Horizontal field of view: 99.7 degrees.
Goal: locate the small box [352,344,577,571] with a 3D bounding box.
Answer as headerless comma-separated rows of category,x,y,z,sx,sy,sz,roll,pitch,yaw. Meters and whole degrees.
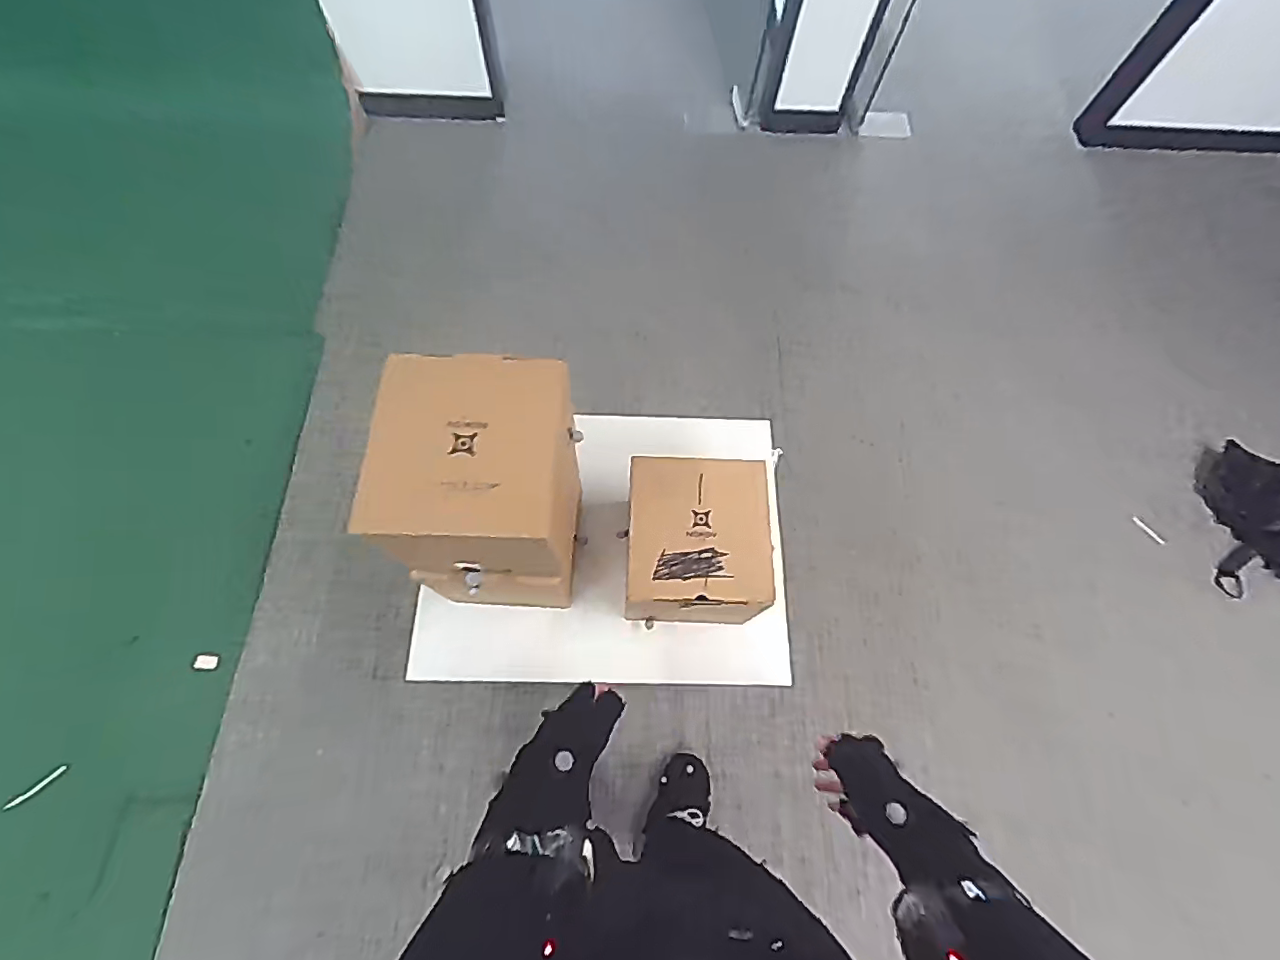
small box,-0.155,-0.014,0.545,0.168,0.176,0.179,1,69,-1

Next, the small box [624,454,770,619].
small box,0.067,0.082,0.706,0.168,0.176,0.179,2,67,-1

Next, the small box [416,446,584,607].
small box,-0.166,0.059,0.707,0.168,0.176,0.179,3,67,0
